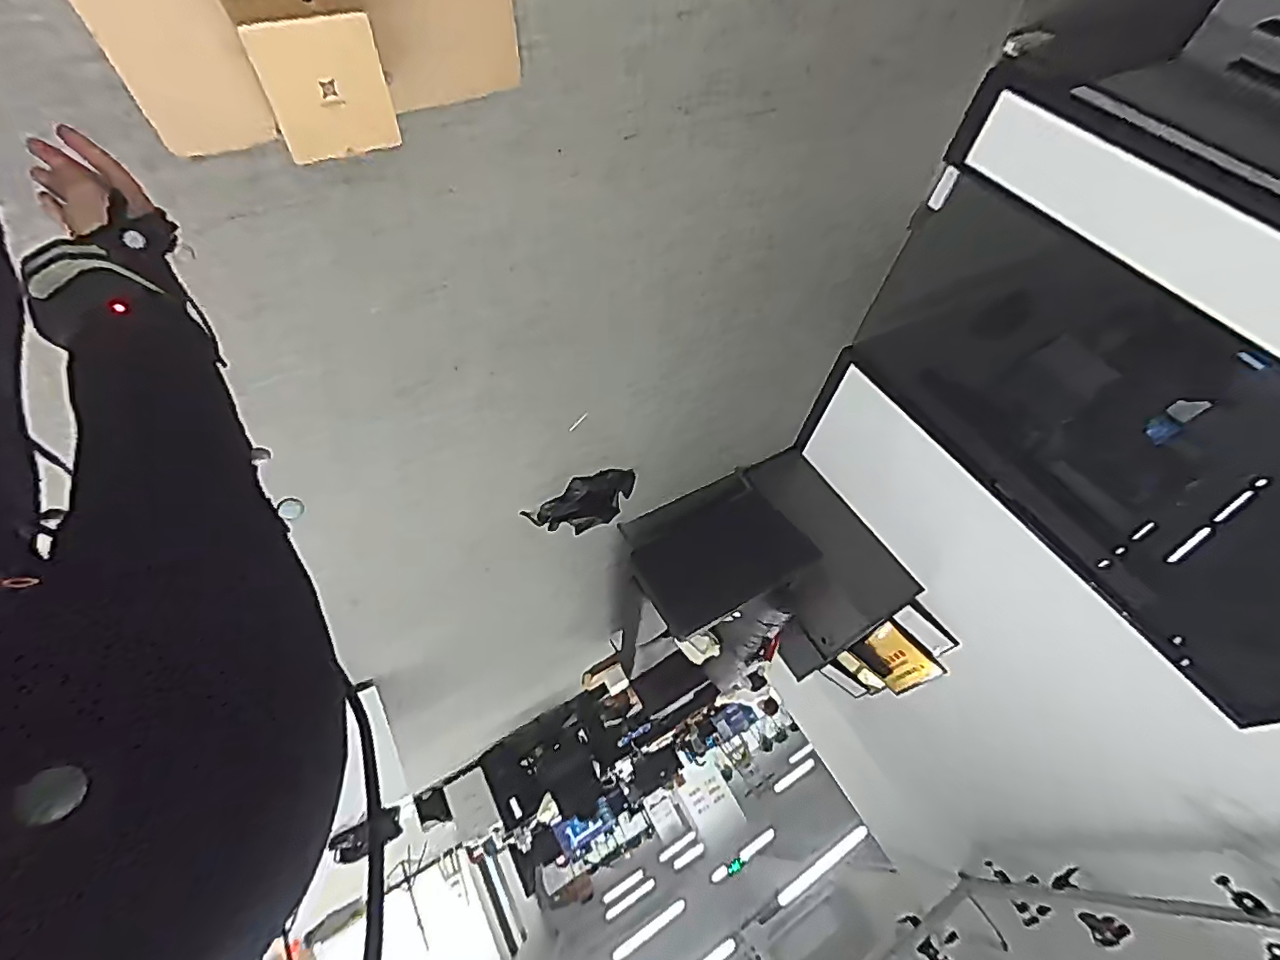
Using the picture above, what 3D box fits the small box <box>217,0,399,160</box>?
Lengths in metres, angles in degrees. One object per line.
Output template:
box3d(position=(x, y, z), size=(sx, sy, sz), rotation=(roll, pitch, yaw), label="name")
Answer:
box3d(position=(-0.492, -0.621, 0.807), size=(0.168, 0.176, 0.179), rotation=(-25, 153, -19), label="small box")
